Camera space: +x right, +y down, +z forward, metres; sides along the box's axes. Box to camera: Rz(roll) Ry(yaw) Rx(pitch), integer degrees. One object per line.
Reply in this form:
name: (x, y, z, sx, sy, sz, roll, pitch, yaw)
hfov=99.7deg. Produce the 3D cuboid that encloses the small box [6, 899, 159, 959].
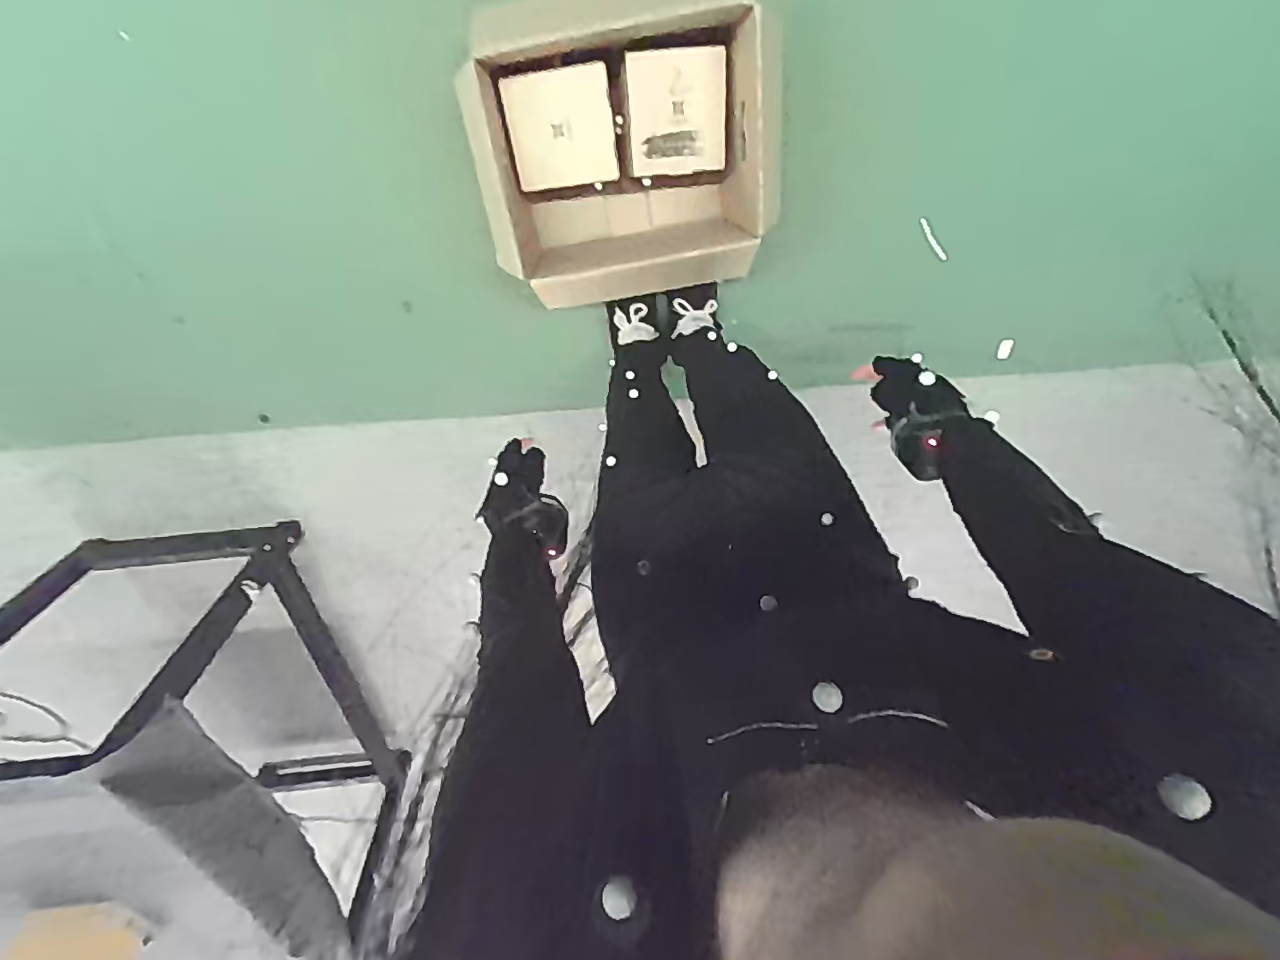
small box: (-1.102, 0.949, 1.056, 0.179, 0.176, 0.168, -5, 122, 0)
